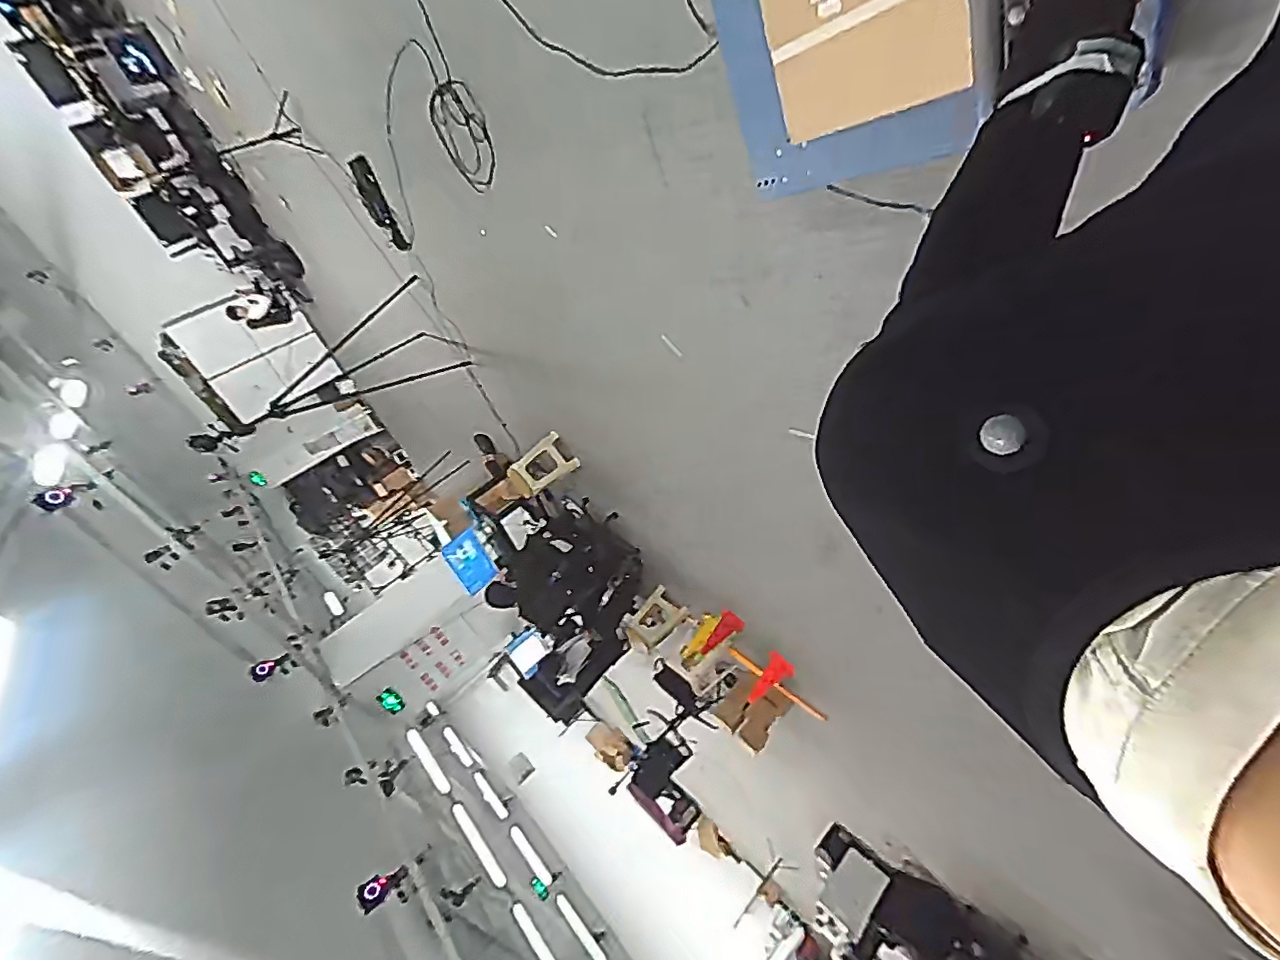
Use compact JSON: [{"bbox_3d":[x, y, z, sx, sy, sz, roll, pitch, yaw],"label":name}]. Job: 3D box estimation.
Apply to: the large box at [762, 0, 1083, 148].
[{"bbox_3d":[0.490,-0.860,0.958,0.408,0.320,0.320,18,139,50],"label":"large box"}]
